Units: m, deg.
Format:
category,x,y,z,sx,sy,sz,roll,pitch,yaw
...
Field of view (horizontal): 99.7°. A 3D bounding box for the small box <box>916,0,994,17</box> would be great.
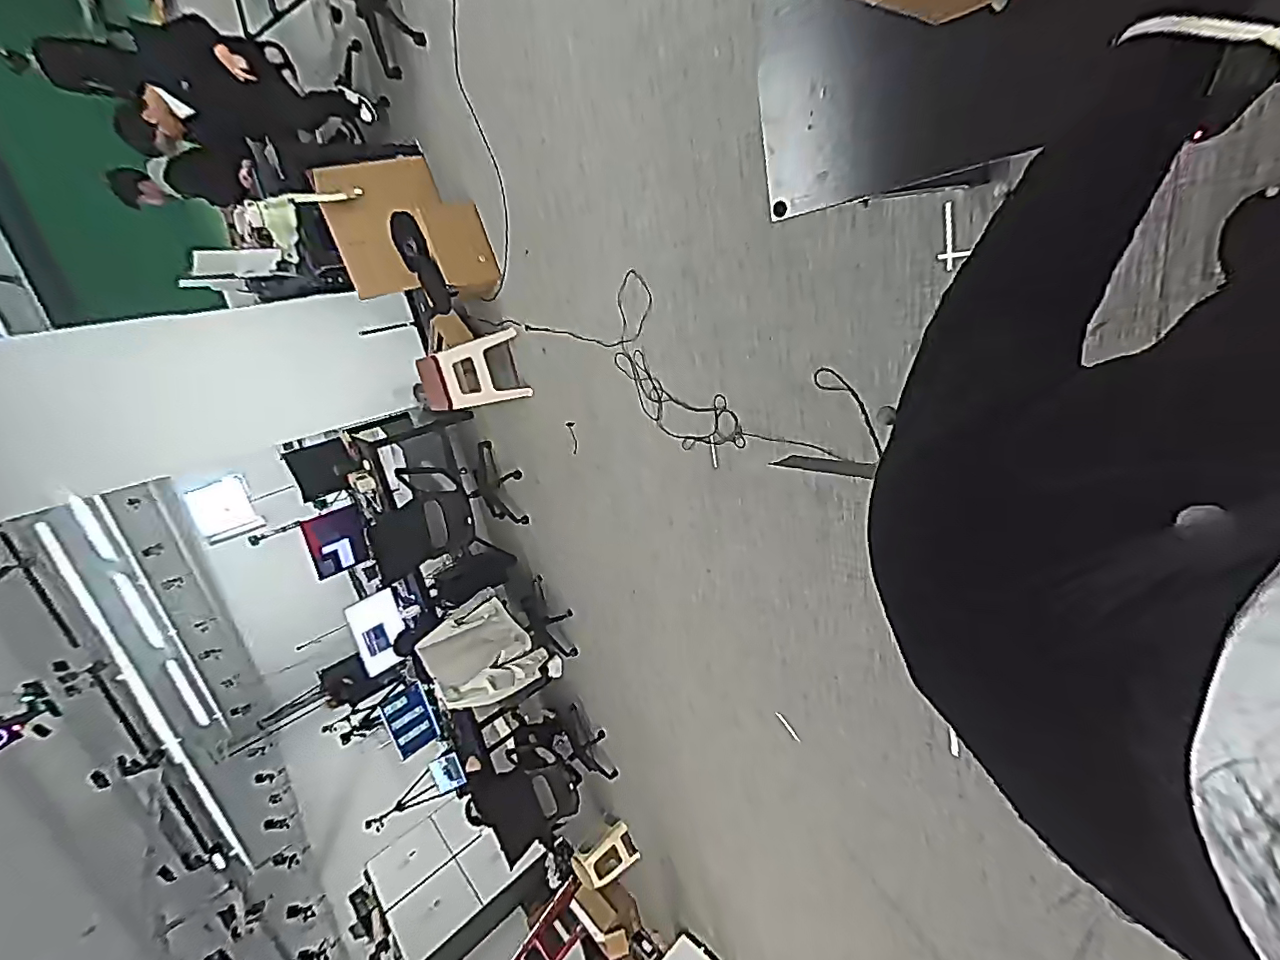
category,x,y,z,sx,sy,sz,roll,pitch,yaw
small box,0.316,-0.550,0.468,0.168,0.176,0.179,11,120,50
